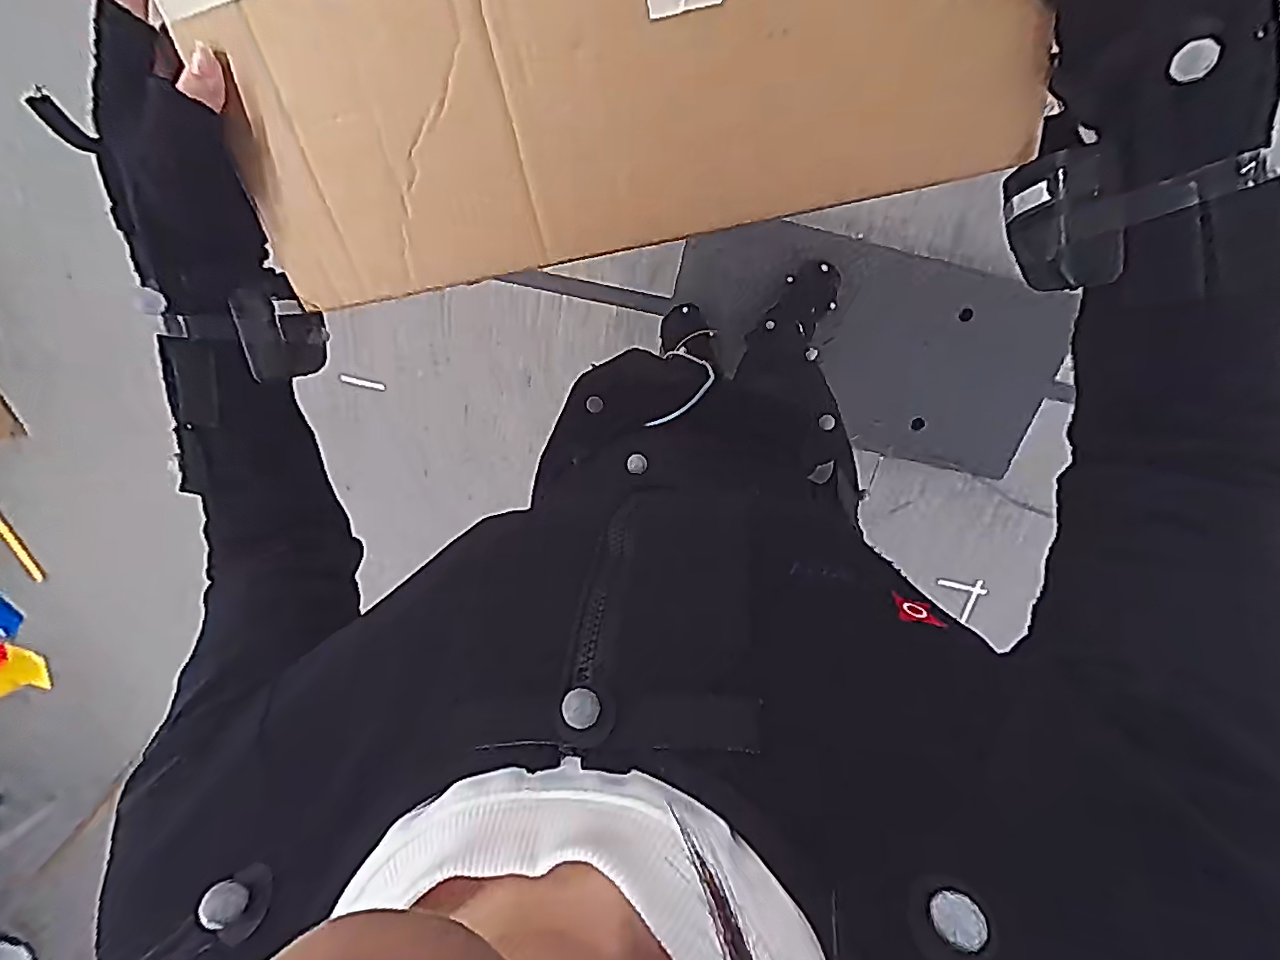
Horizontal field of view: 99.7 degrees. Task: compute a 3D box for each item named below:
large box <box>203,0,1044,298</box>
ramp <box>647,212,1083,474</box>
[{"bbox_3d":[-0.015,-0.341,0.366,0.408,0.320,0.320,-6,118,13],"label":"large box"},{"bbox_3d":[0.551,-0.332,1.361,0.991,0.206,0.509,14,111,5],"label":"ramp"}]
